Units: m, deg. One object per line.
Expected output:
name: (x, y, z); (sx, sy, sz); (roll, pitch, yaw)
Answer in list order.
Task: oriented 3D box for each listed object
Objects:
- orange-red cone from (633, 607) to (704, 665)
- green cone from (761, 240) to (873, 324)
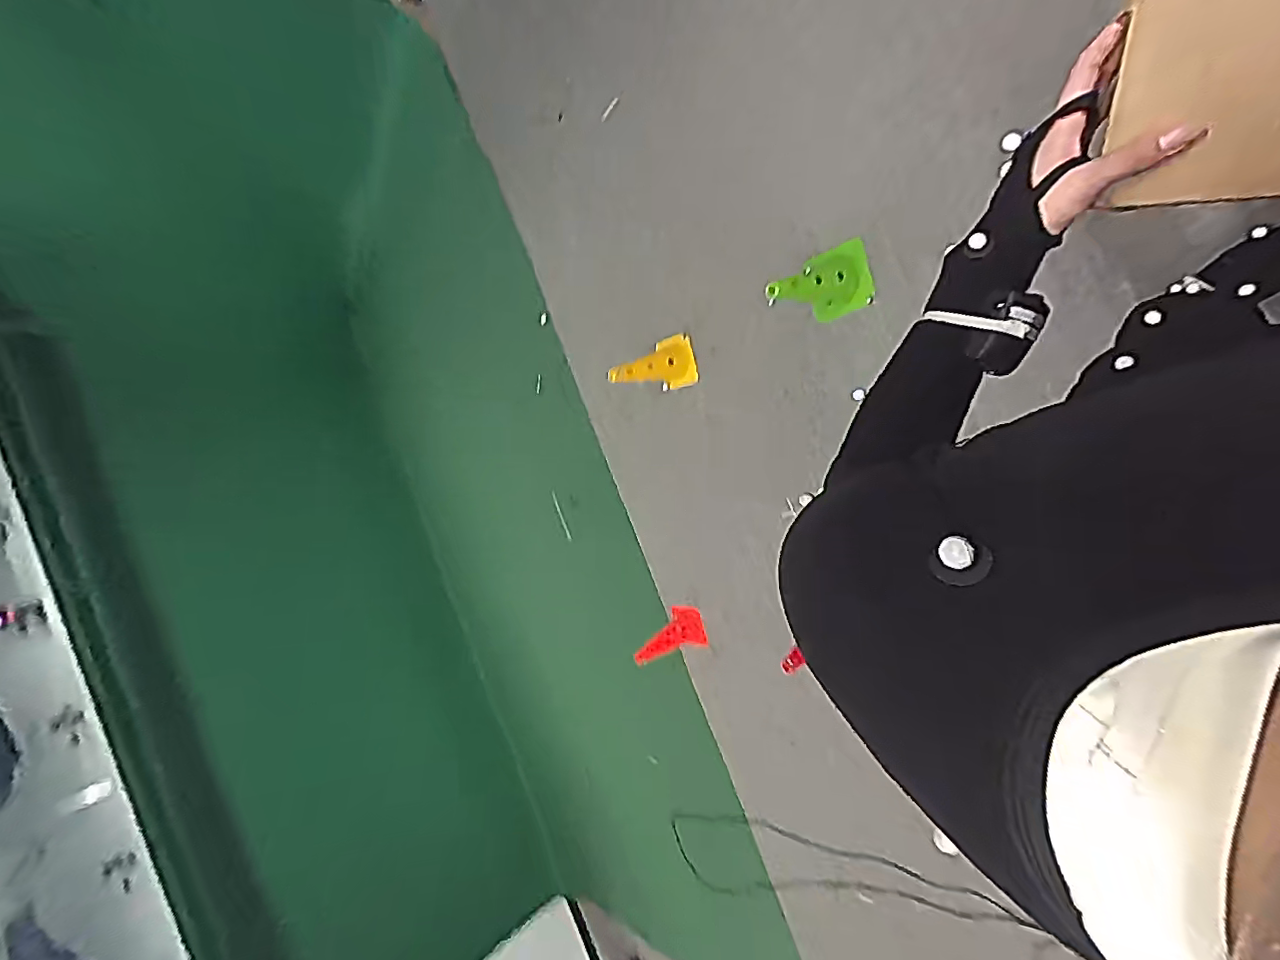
orange-red cone: (0.107, 0.782, 2.579); (0.198, 0.360, 0.199); (-9, 100, 52)
green cone: (0.477, -0.558, 1.560); (0.202, 0.368, 0.200); (-12, 96, 52)
